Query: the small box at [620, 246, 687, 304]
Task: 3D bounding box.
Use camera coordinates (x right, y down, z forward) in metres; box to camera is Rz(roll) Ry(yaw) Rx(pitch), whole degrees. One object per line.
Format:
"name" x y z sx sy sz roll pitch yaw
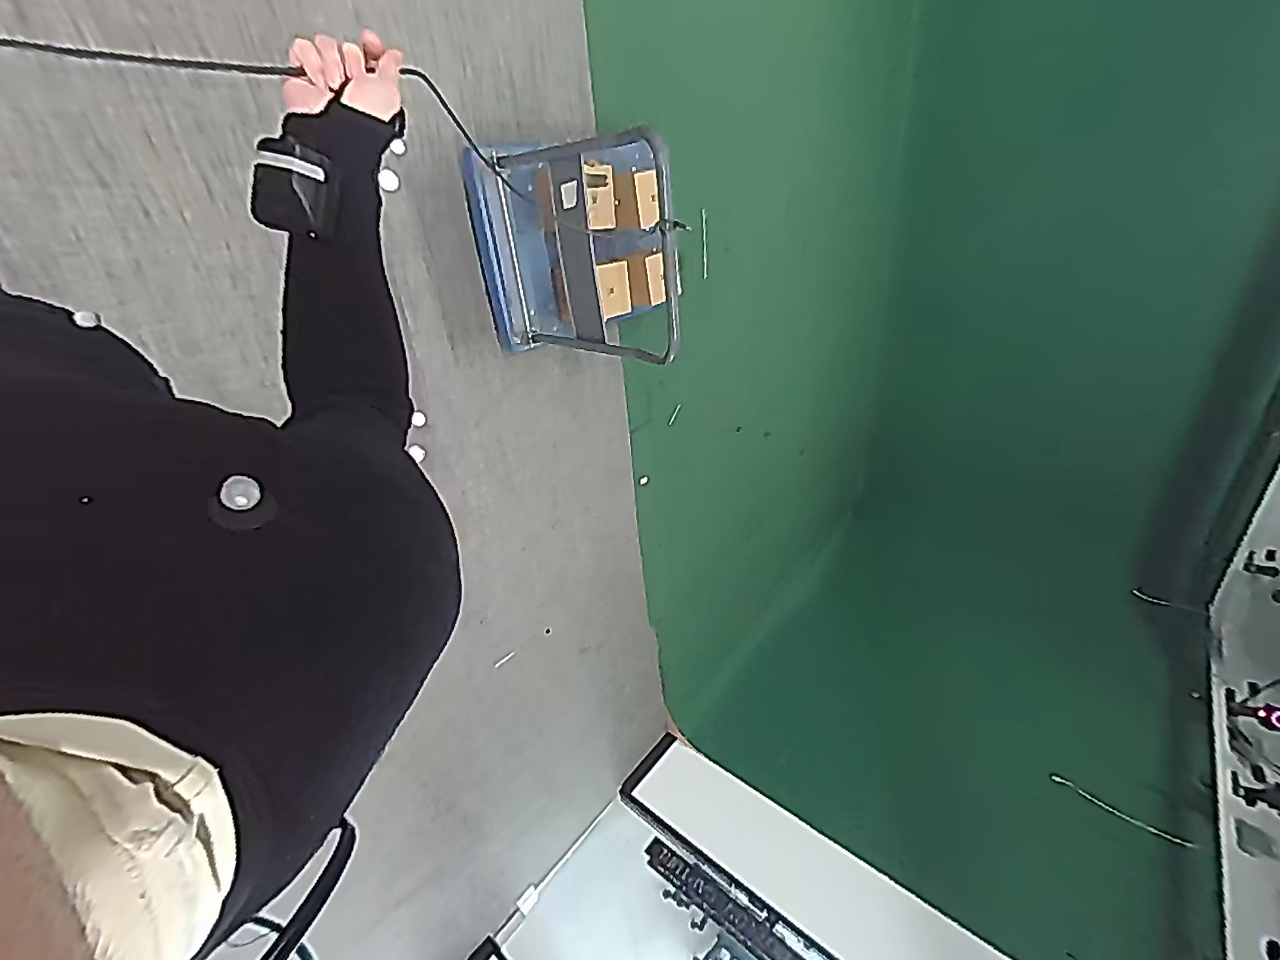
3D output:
"small box" 0.047 -0.744 1.957 0.179 0.176 0.168 -34 127 -35

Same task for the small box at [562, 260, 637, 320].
"small box" -0.133 -0.634 1.789 0.179 0.176 0.168 -30 125 -38

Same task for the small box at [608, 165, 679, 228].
"small box" 0.008 -0.957 1.830 0.179 0.176 0.168 -35 129 -36
